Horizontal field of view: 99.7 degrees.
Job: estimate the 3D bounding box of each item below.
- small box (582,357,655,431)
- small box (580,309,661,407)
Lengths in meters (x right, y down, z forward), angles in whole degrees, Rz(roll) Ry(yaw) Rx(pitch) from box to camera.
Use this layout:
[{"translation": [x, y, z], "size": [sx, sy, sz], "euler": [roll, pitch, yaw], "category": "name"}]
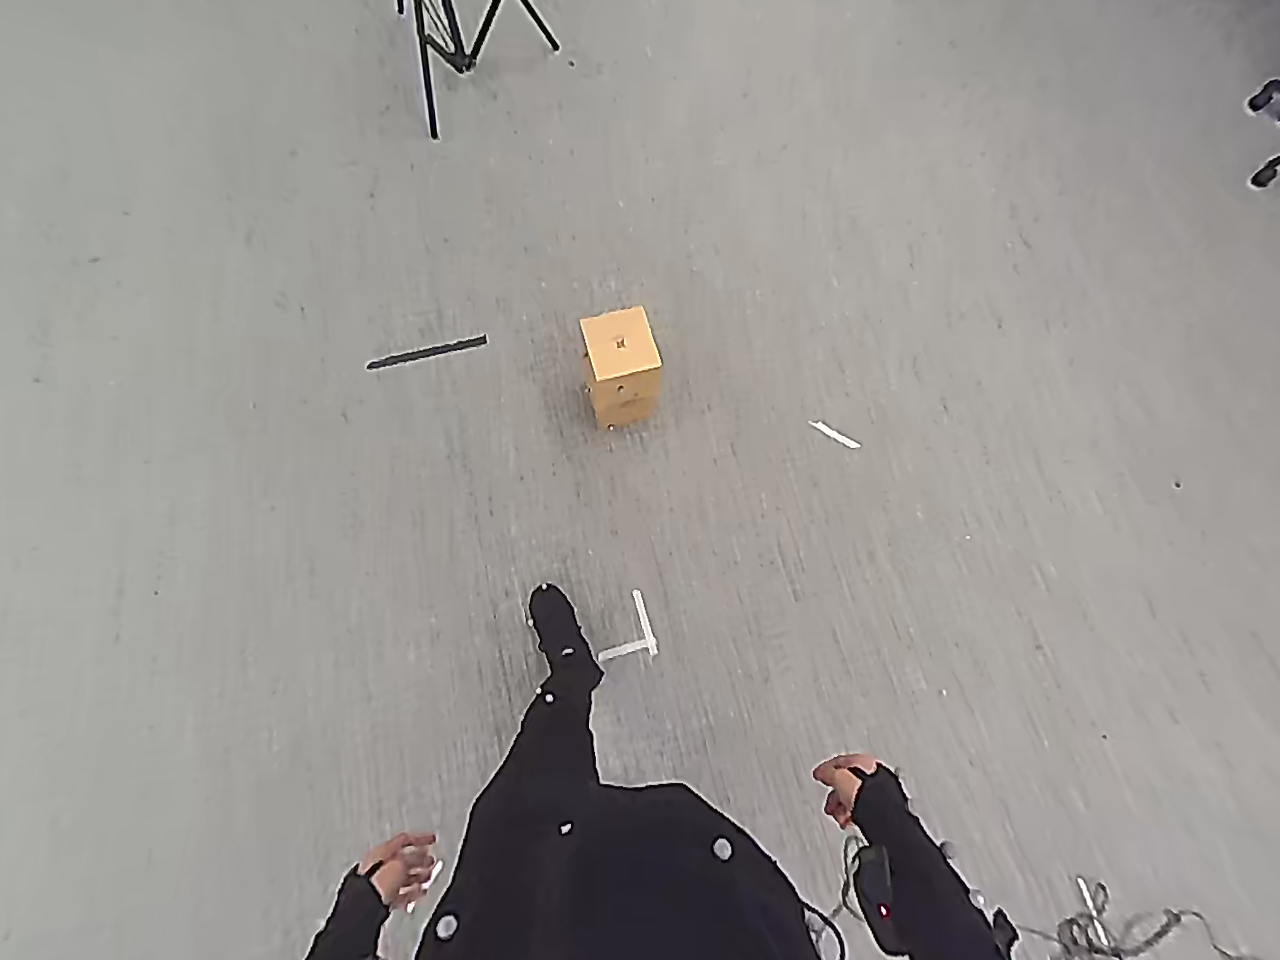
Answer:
[{"translation": [-0.060, -0.254, 1.537], "size": [0.168, 0.176, 0.179], "euler": [-16, 74, -7], "category": "small box"}, {"translation": [-0.050, -0.300, 1.381], "size": [0.168, 0.176, 0.179], "euler": [-15, 74, -7], "category": "small box"}]
